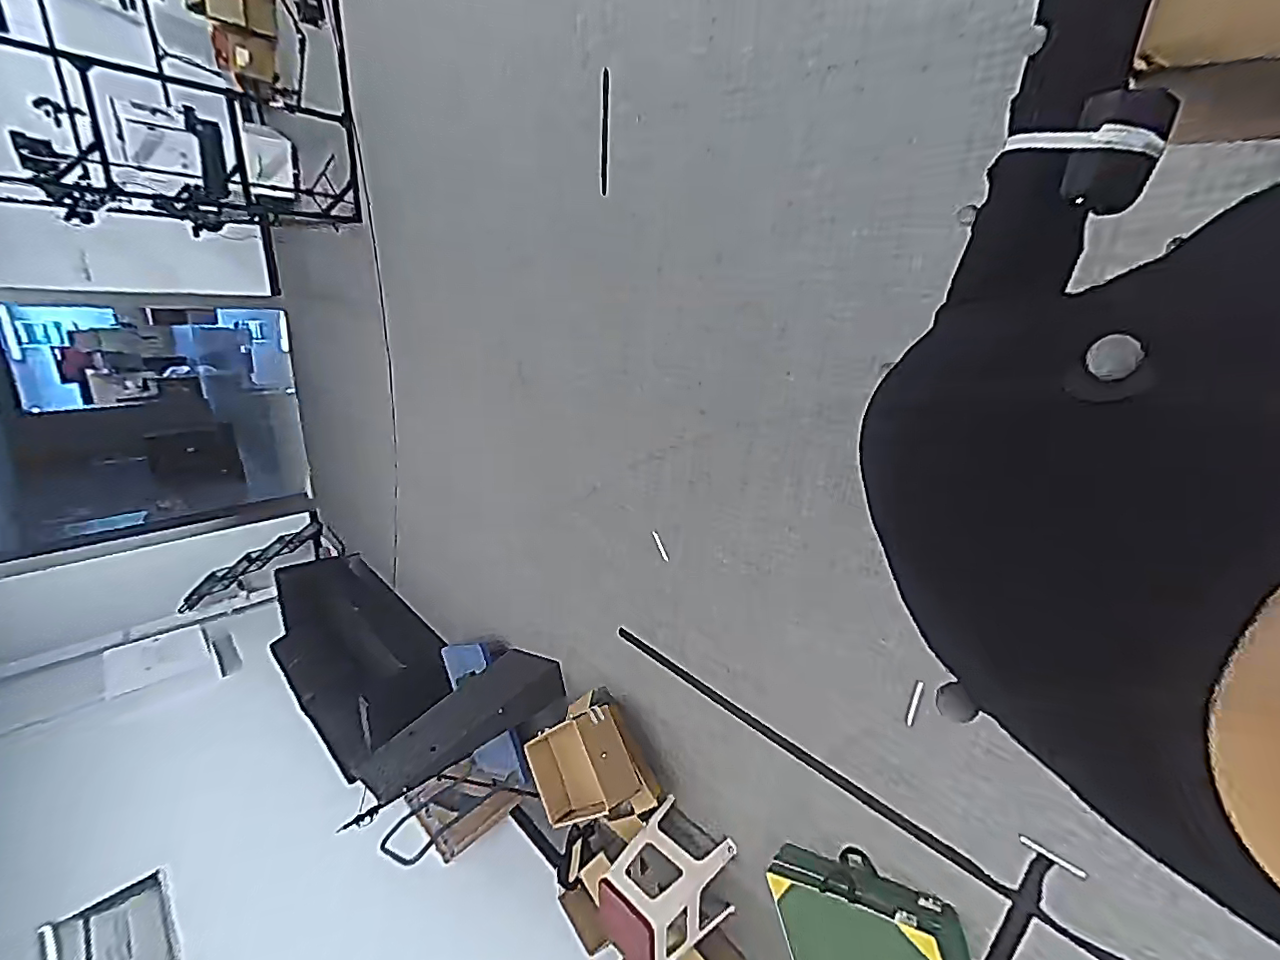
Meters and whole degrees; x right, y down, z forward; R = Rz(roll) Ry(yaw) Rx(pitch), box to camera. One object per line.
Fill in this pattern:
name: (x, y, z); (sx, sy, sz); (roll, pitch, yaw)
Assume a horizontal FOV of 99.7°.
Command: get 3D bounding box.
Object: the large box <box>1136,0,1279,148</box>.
large box: (0.571, -0.389, 0.279); (0.408, 0.320, 0.320); (21, 121, 37)
